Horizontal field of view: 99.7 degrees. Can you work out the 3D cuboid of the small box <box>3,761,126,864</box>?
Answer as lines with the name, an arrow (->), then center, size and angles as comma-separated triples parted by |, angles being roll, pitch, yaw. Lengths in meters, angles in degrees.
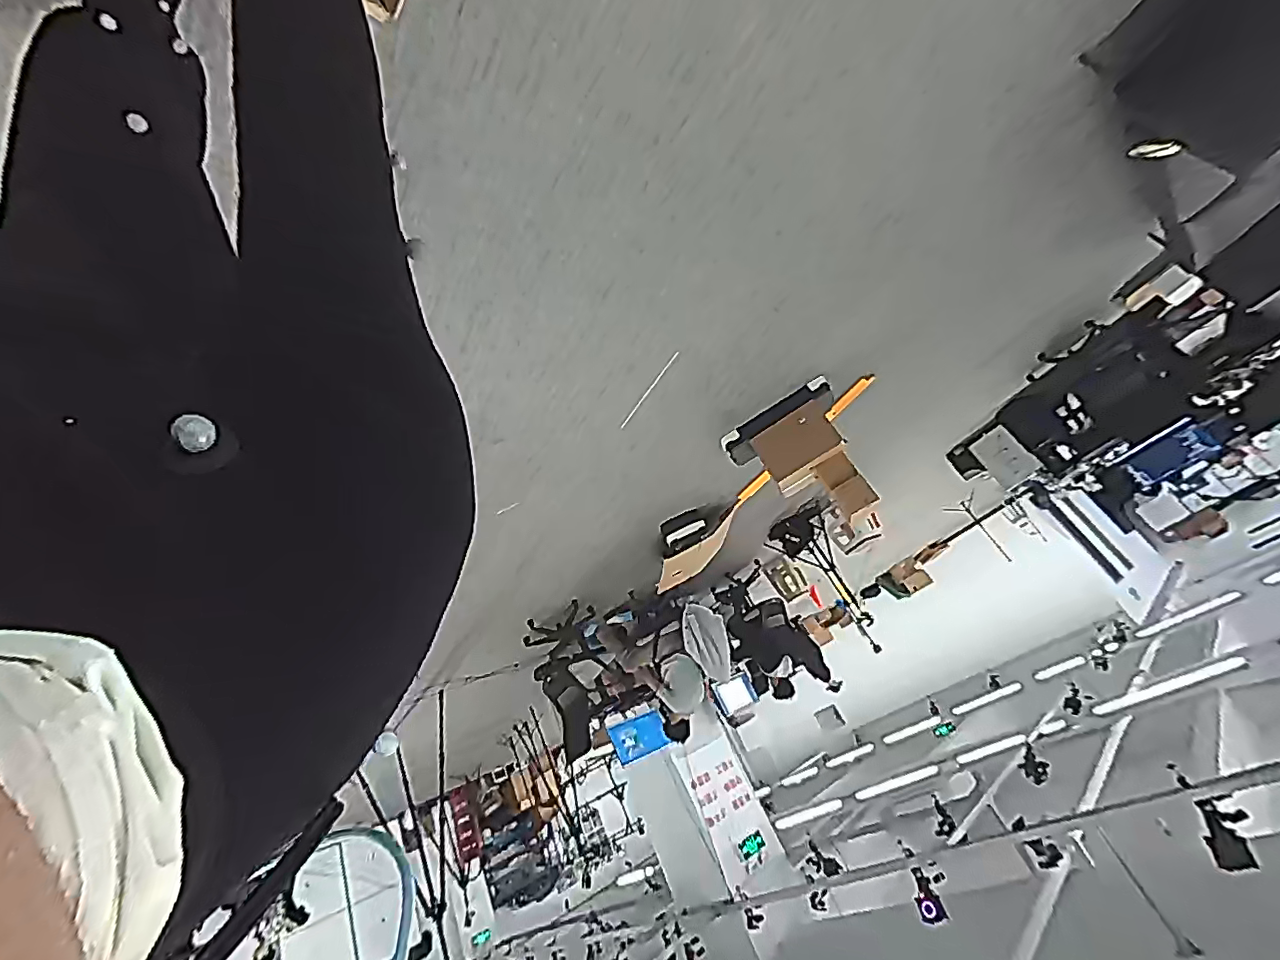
small box -> -1.462, 0.845, 1.384 | 0.168, 0.176, 0.179 | -13, 151, -27
